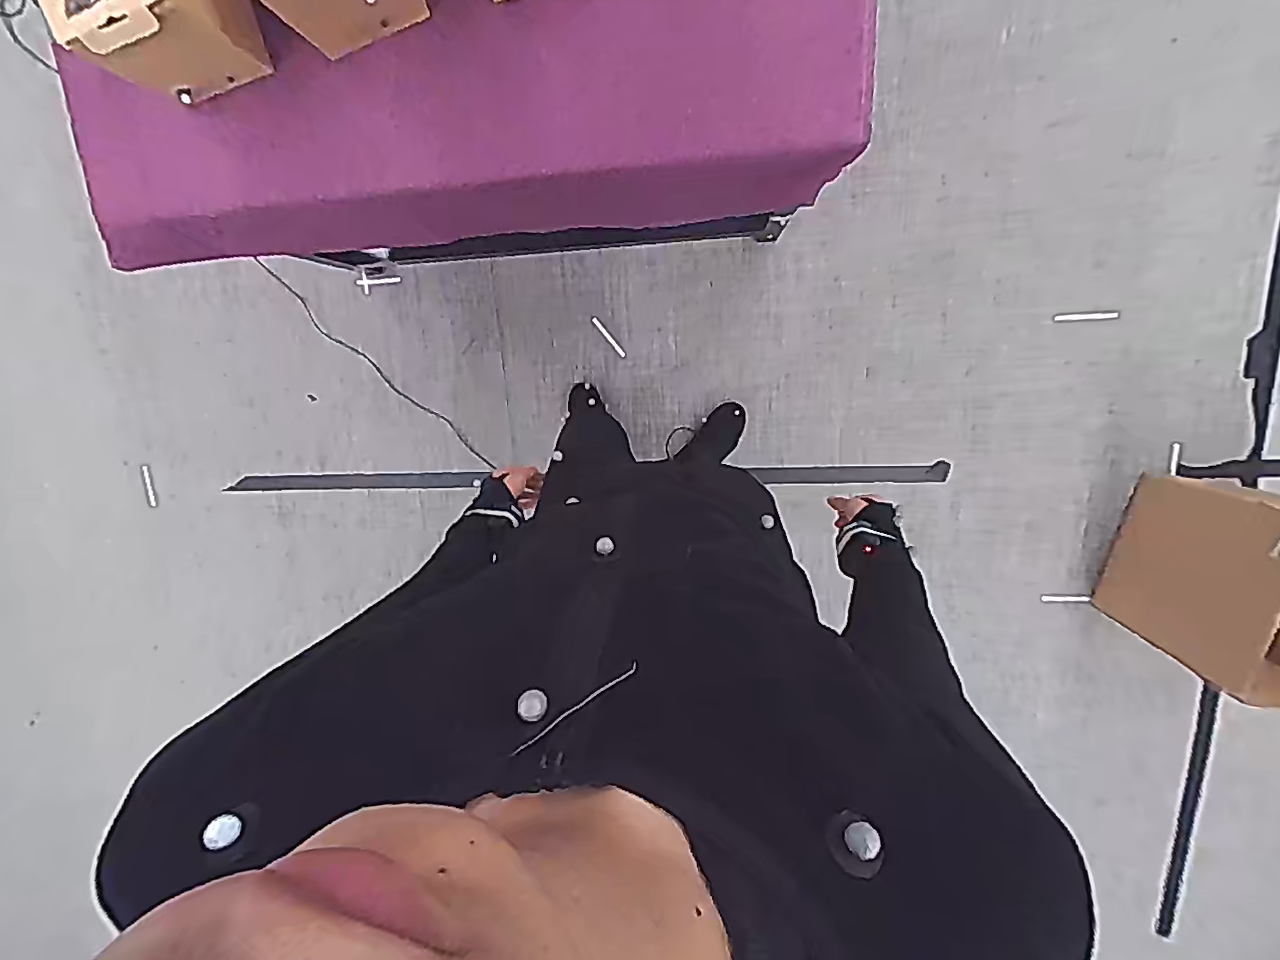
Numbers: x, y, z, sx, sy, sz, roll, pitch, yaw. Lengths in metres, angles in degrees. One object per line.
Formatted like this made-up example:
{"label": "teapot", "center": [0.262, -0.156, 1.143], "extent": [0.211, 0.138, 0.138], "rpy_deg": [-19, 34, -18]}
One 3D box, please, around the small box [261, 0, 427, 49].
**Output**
{"label": "small box", "center": [-0.405, -0.701, 0.691], "extent": [0.168, 0.176, 0.179], "rpy_deg": [-15, 100, 8]}

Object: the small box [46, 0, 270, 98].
{"label": "small box", "center": [-0.649, -0.653, 0.725], "extent": [0.168, 0.176, 0.179], "rpy_deg": [-14, 100, 8]}
